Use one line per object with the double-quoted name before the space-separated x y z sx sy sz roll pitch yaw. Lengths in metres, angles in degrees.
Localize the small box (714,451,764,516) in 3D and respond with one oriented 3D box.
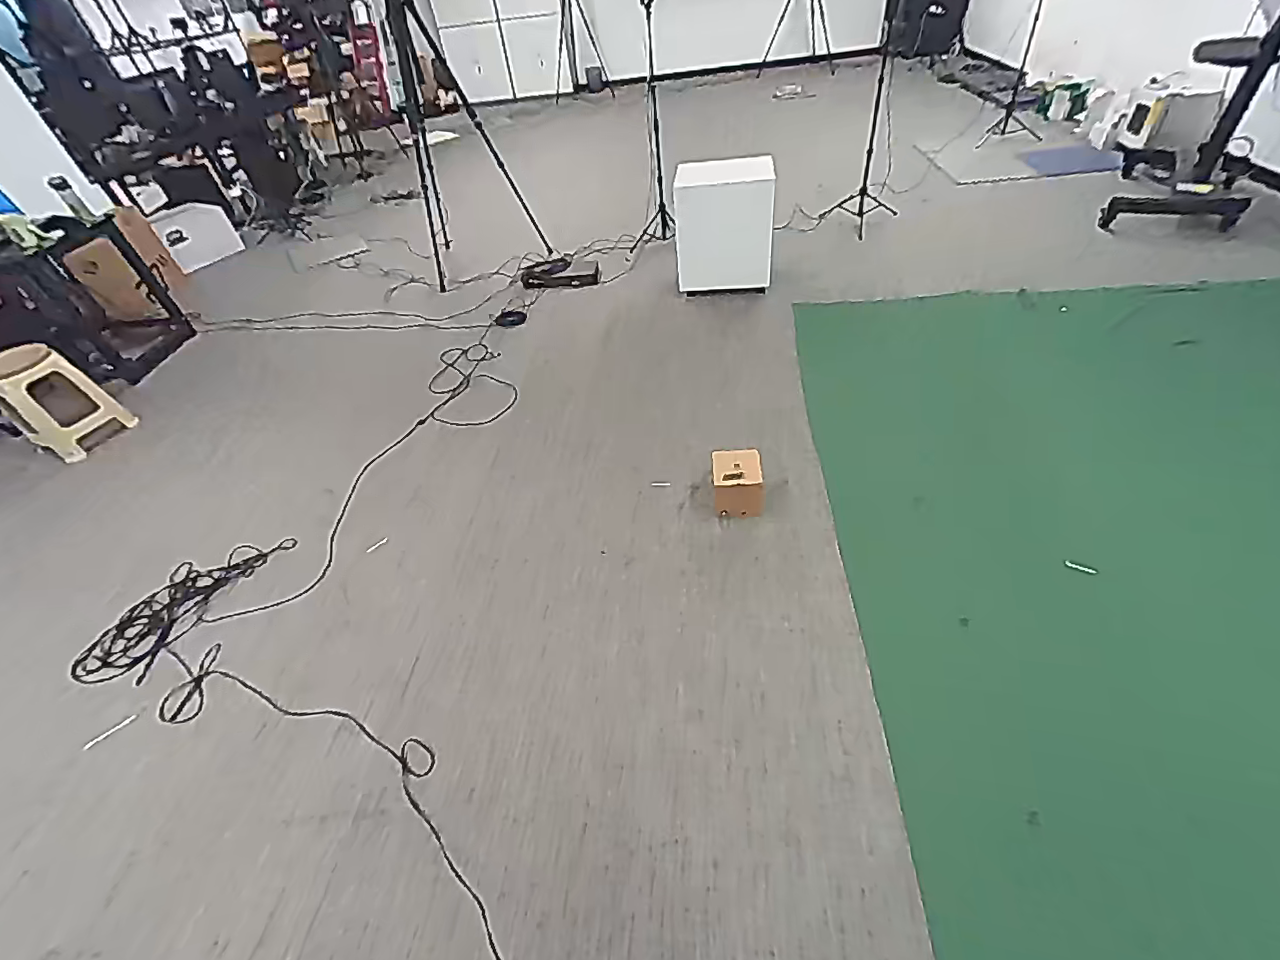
"small box" 0.352 0.019 1.939 0.168 0.176 0.179 -2 44 6
